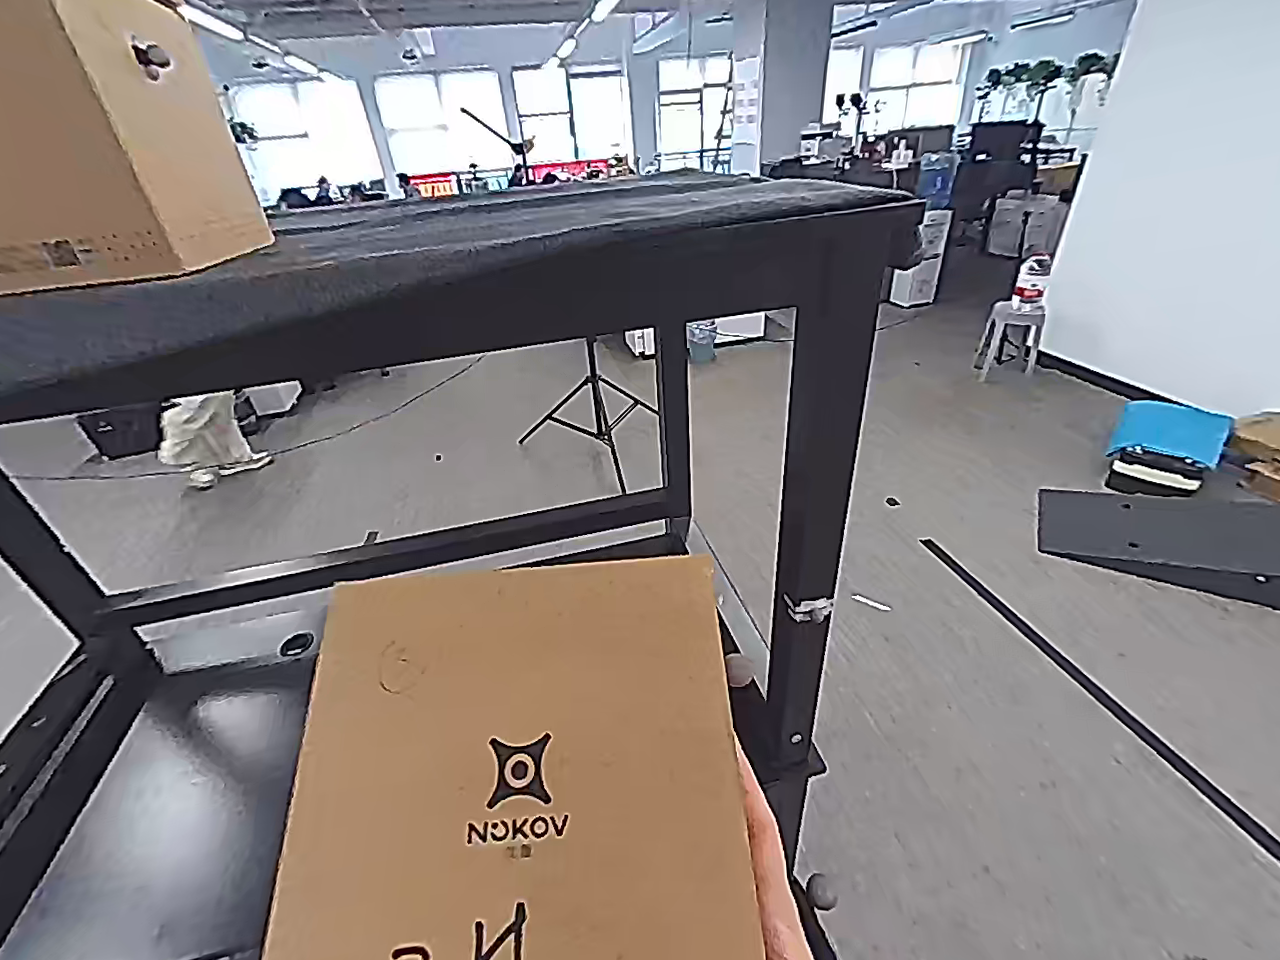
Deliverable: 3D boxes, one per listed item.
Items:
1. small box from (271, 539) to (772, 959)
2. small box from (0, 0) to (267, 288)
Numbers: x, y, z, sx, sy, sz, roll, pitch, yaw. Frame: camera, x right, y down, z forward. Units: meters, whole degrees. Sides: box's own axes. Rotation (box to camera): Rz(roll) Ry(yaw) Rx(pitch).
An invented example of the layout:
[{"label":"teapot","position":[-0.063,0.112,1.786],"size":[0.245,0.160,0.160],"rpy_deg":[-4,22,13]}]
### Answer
[{"label":"small box","position":[-0.040,0.144,0.271],"size":[0.168,0.176,0.179],"rpy_deg":[-5,64,0]},{"label":"small box","position":[-0.397,-0.231,0.369],"size":[0.168,0.176,0.179],"rpy_deg":[-11,31,-9]}]
